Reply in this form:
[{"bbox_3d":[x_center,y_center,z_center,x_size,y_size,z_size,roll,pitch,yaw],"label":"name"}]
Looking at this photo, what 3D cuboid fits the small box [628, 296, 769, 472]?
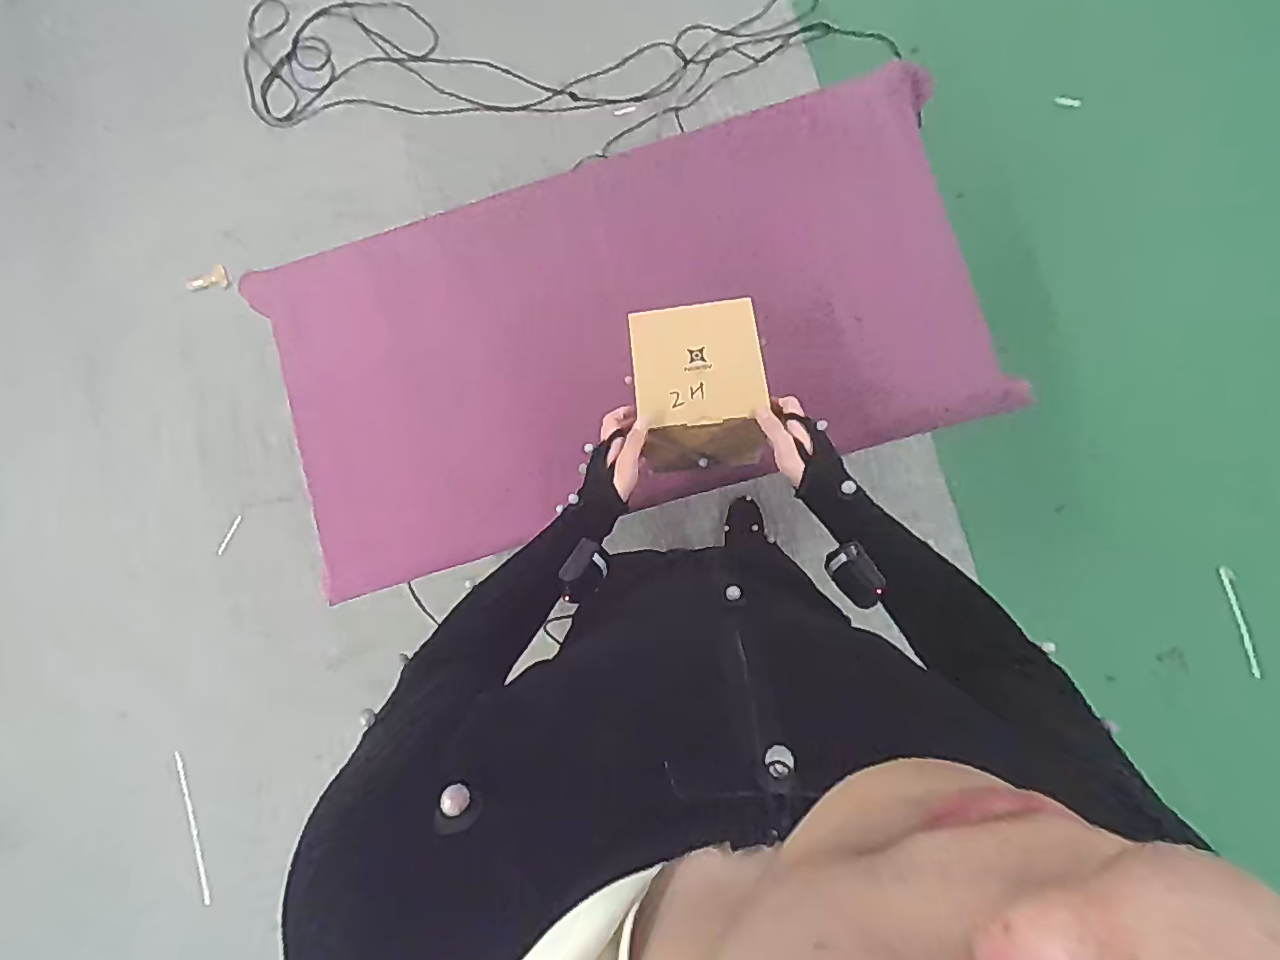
[{"bbox_3d":[0.076,-0.125,0.754,0.168,0.176,0.179,-6,72,5],"label":"small box"}]
